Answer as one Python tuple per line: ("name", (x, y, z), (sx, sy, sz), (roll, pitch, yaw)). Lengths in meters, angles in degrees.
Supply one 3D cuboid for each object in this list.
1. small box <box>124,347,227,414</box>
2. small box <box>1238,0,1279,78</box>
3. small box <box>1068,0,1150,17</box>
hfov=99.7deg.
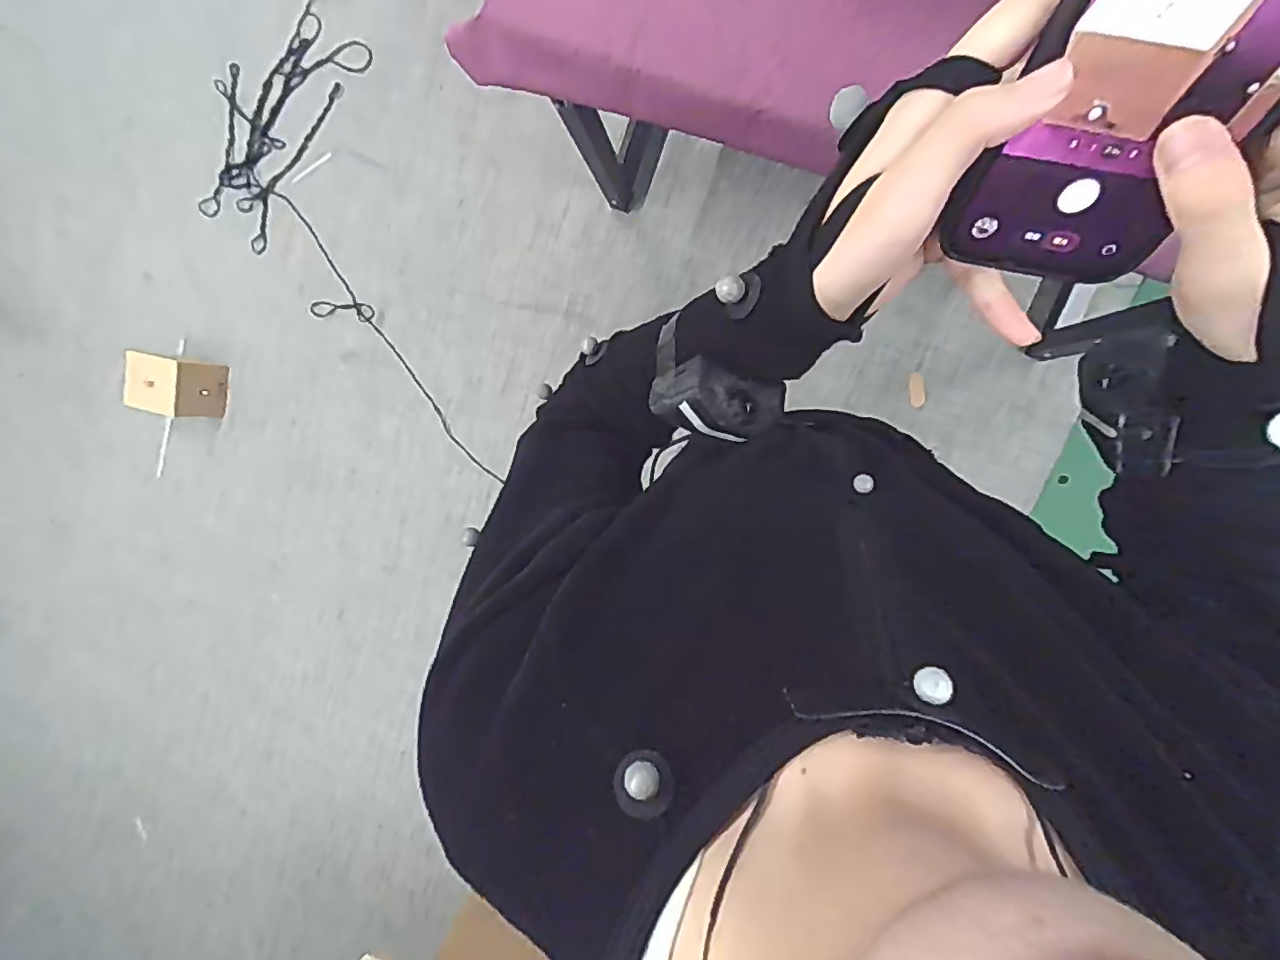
("small box", (-1.409, -0.300, 1.650), (0.179, 0.176, 0.168), (14, 98, 8))
("small box", (0.759, -0.530, 0.527), (0.179, 0.176, 0.168), (2, 96, 9))
("small box", (0.525, -0.637, 0.555), (0.179, 0.176, 0.168), (26, 100, 6))
